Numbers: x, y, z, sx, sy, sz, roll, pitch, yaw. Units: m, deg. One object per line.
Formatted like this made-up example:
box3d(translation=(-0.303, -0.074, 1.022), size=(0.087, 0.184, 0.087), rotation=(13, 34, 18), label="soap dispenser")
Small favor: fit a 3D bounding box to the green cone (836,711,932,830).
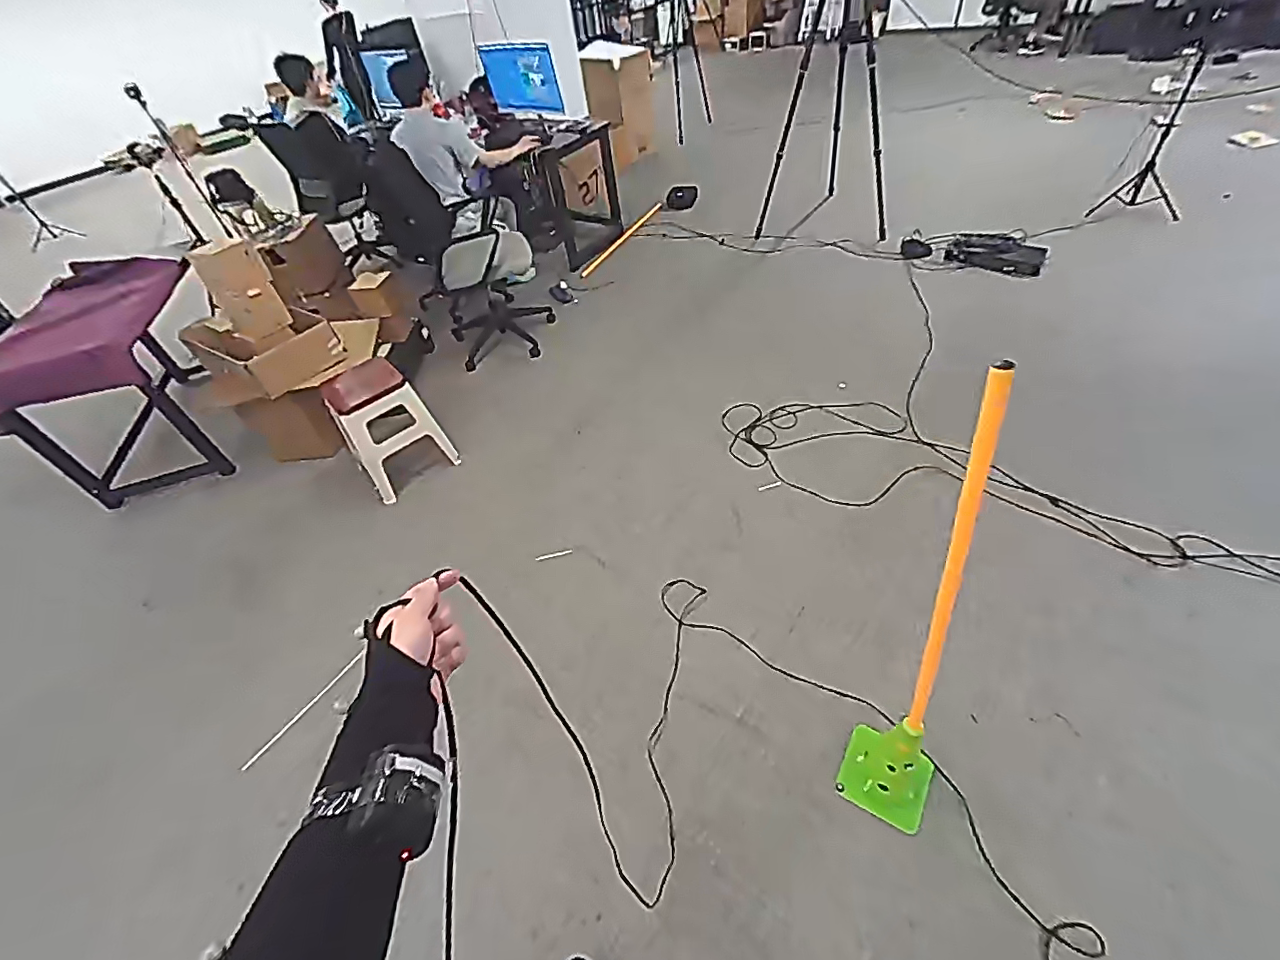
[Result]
box3d(translation=(0.608, 0.638, 1.270), size=(0.200, 0.368, 0.202), rotation=(20, 52, 26), label="green cone")
